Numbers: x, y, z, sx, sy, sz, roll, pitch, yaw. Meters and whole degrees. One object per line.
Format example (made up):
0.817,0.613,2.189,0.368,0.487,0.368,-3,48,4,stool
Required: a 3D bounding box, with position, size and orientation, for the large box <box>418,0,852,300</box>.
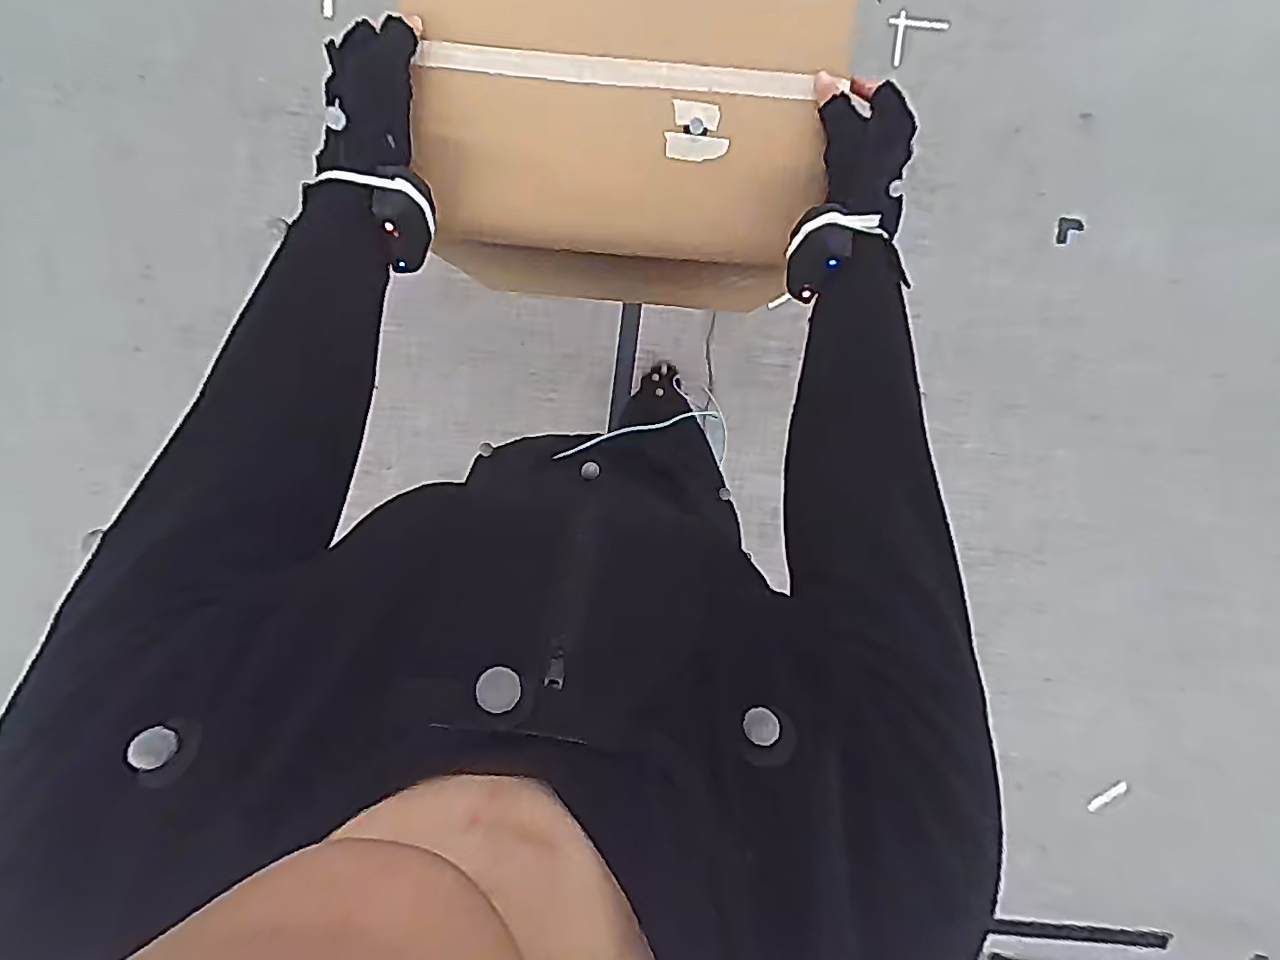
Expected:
-0.011,-0.407,0.649,0.408,0.320,0.320,4,101,-2,large box
